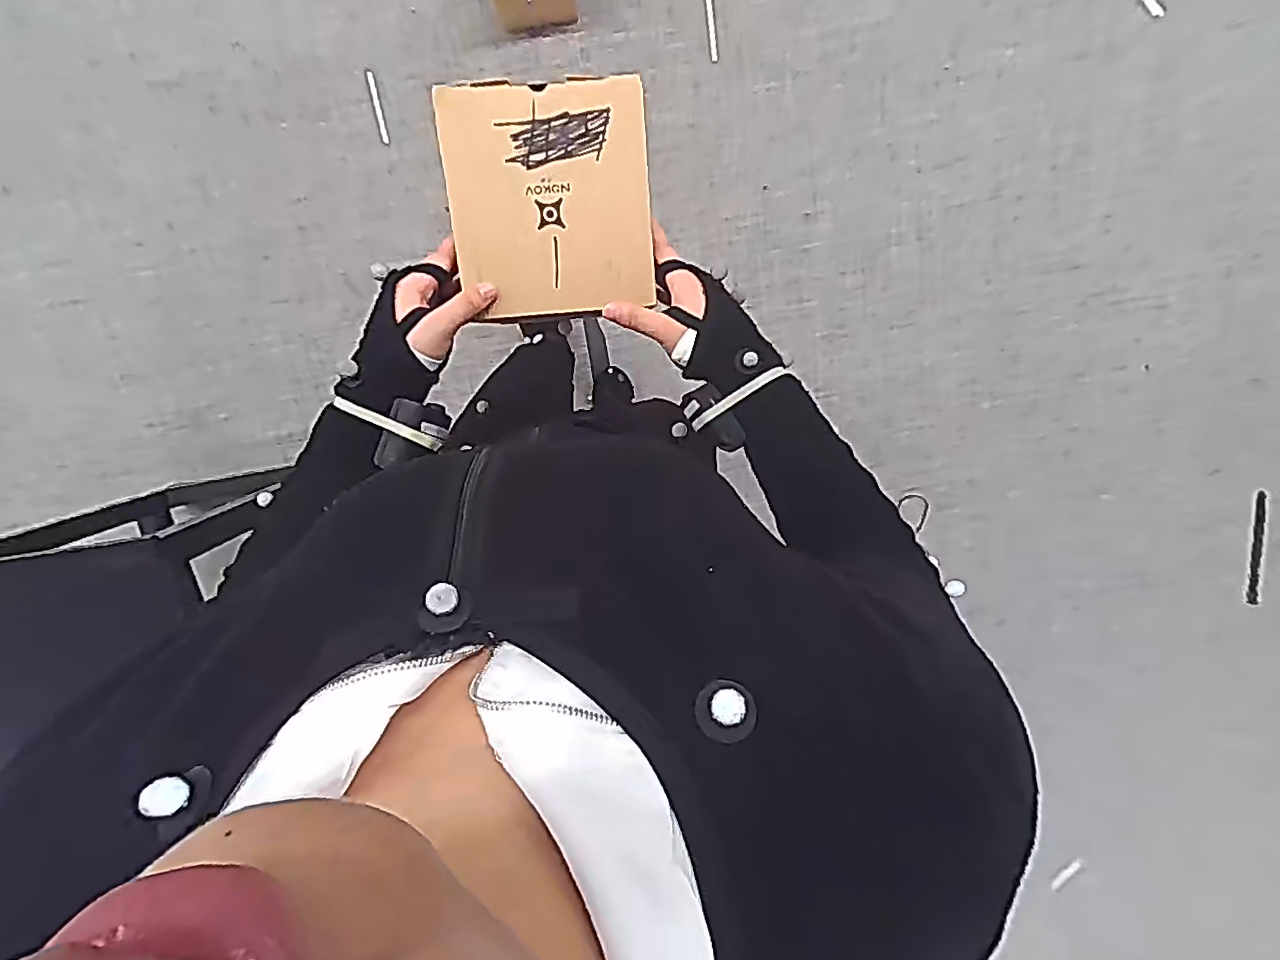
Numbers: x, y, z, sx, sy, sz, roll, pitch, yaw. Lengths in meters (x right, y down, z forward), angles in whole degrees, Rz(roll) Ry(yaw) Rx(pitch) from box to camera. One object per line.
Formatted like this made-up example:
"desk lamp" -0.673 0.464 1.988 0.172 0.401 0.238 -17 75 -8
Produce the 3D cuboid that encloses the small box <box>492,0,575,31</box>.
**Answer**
"small box" -0.241 -1.095 1.145 0.179 0.176 0.168 -9 105 -1

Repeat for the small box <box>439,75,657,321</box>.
"small box" -0.077 -0.250 0.519 0.168 0.176 0.179 -5 106 -3
